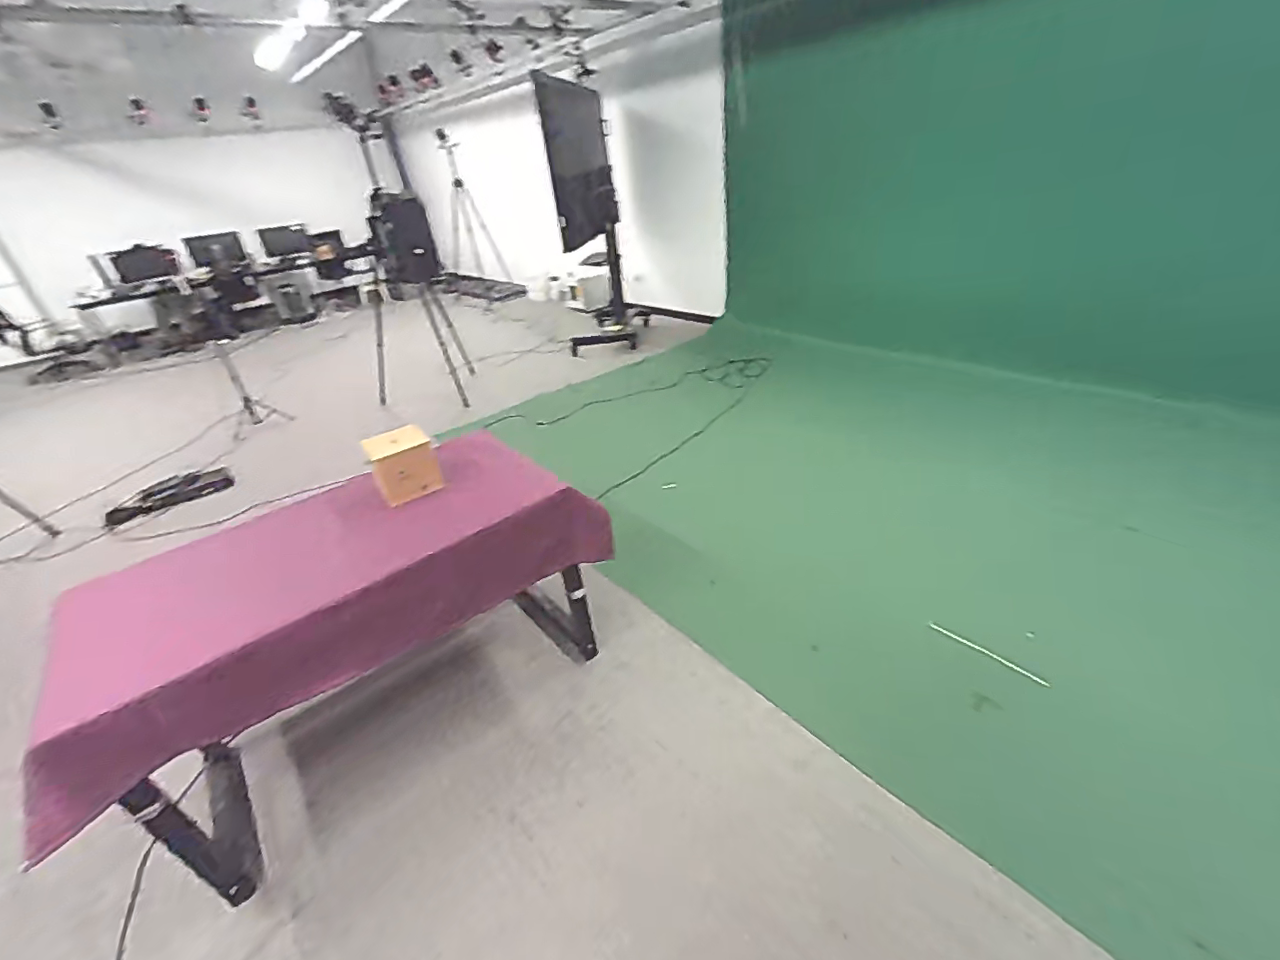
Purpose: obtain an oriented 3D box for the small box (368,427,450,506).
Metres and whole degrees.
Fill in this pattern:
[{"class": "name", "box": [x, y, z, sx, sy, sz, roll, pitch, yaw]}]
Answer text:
[{"class": "small box", "box": [-0.711, -0.040, 1.673, 0.168, 0.176, 0.179, -26, 35, -27]}]
